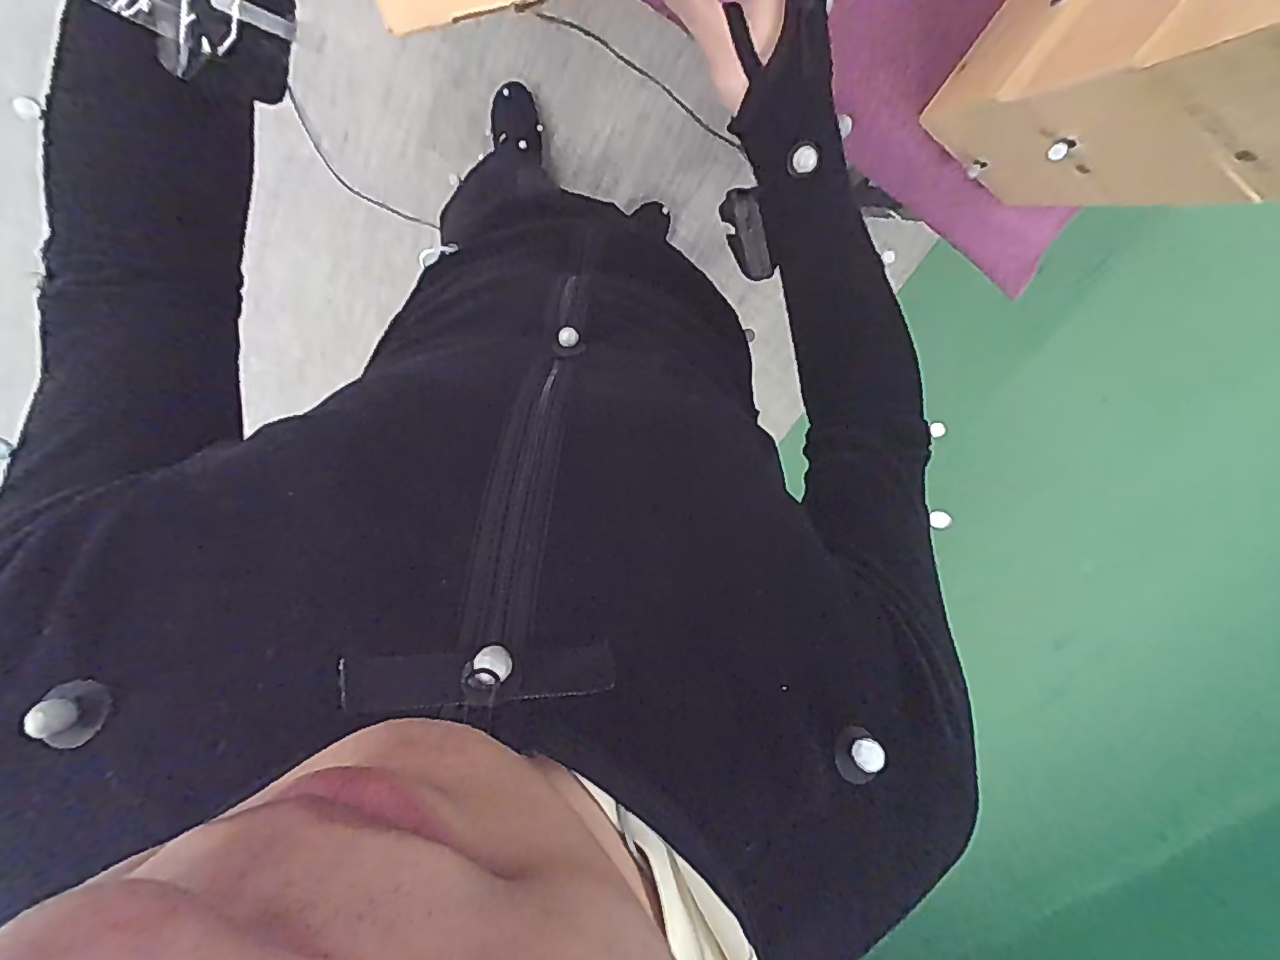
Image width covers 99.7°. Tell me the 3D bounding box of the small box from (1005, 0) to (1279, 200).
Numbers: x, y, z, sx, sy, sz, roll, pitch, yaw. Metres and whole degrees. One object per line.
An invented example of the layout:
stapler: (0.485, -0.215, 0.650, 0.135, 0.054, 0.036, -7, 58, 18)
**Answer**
small box: (0.467, -0.365, 0.454, 0.168, 0.176, 0.179, 31, 112, -14)

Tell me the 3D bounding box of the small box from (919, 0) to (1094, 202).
small box: (0.460, -0.438, 0.601, 0.179, 0.176, 0.168, 31, 112, -15)
